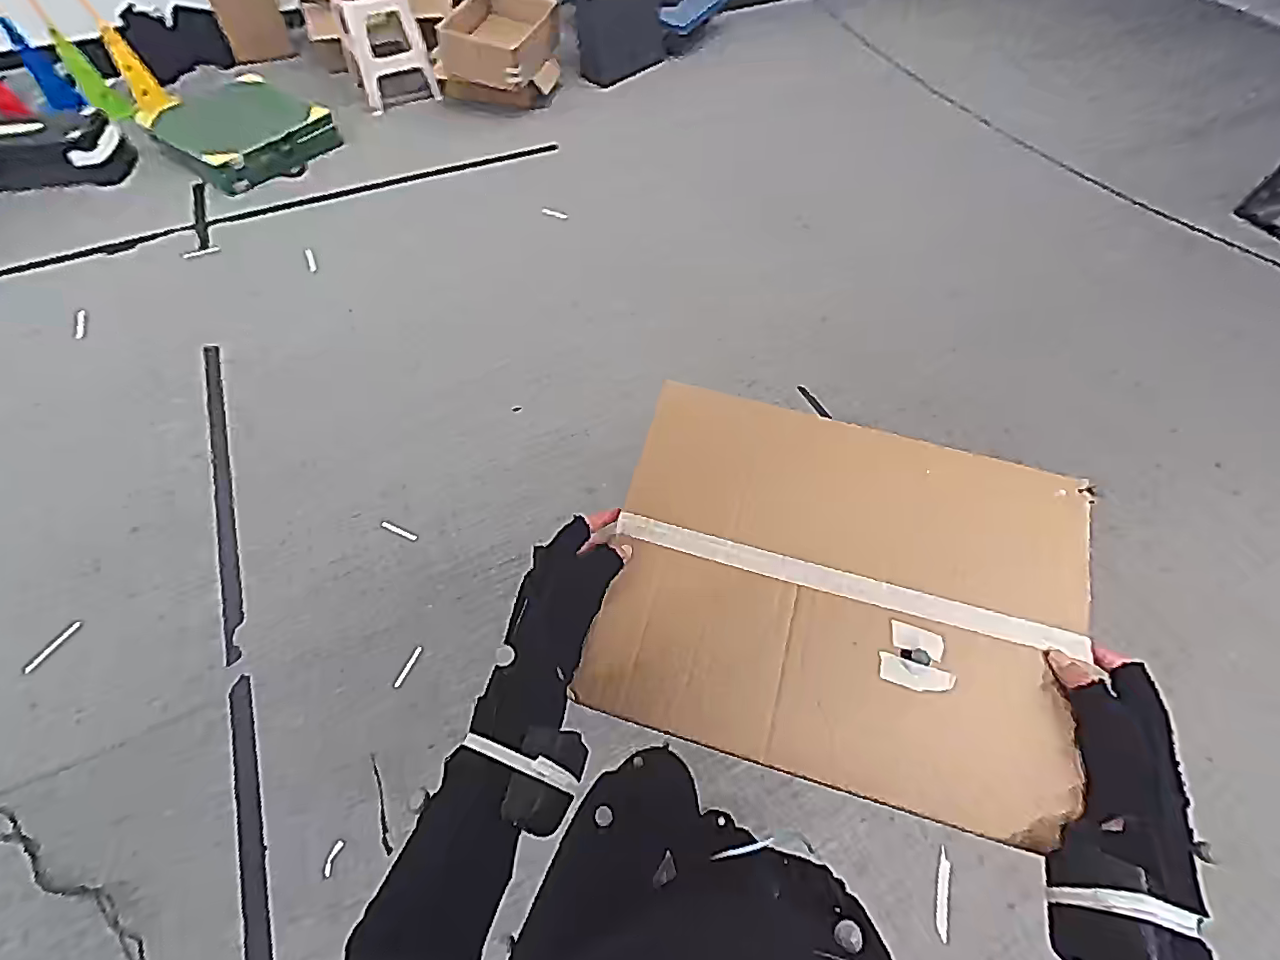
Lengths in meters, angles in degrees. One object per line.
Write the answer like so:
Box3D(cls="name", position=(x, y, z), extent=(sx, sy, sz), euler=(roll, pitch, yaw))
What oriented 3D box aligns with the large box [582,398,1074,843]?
Box3D(cls="large box", position=(0.180, 0.150, 0.626), extent=(0.408, 0.320, 0.320), euler=(15, 71, 7))
